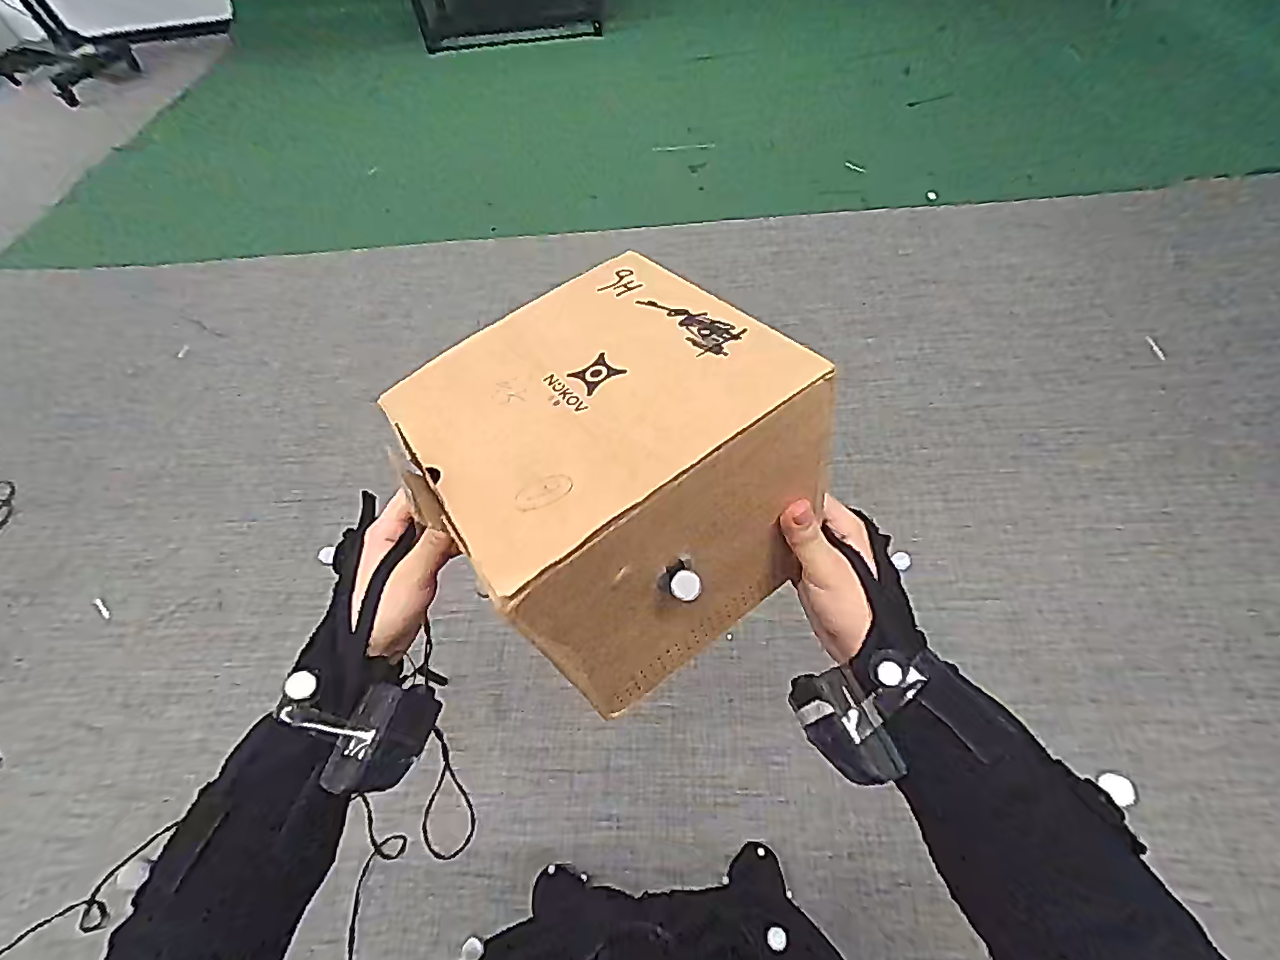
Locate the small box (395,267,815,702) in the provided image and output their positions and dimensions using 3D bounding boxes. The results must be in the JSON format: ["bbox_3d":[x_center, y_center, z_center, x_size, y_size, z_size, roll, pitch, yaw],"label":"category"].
[{"bbox_3d":[-0.011,0.006,0.340,0.179,0.176,0.168,-35,52,-13],"label":"small box"}]
